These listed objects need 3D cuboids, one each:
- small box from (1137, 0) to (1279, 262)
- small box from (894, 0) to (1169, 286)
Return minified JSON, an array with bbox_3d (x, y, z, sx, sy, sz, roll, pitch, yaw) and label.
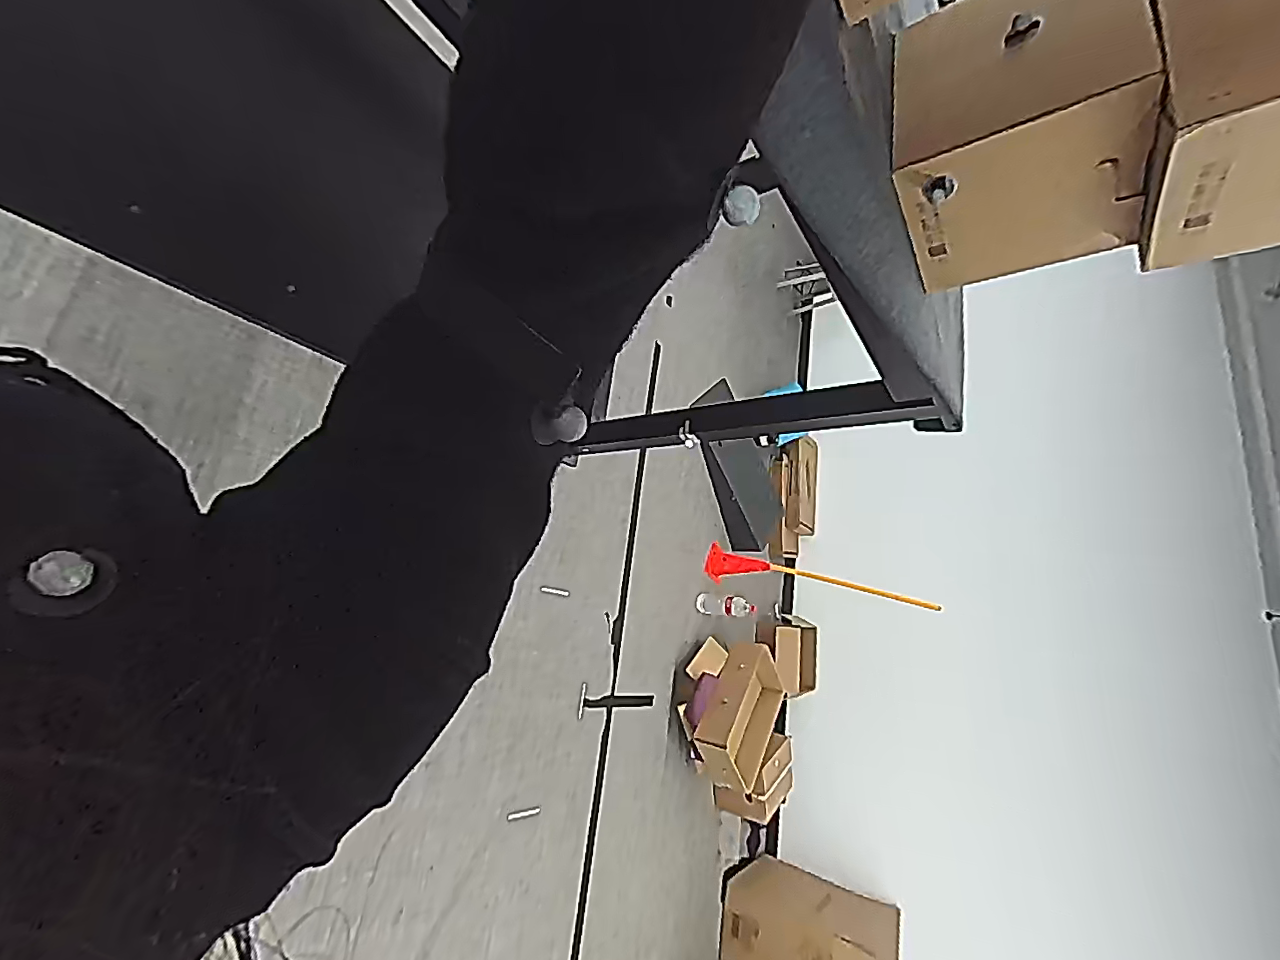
[{"bbox_3d":[0.461,-0.287,0.380,0.168,0.176,0.179,24,67,-52],"label":"small box"},{"bbox_3d":[0.335,-0.307,0.484,0.168,0.176,0.179,32,60,-48],"label":"small box"}]
